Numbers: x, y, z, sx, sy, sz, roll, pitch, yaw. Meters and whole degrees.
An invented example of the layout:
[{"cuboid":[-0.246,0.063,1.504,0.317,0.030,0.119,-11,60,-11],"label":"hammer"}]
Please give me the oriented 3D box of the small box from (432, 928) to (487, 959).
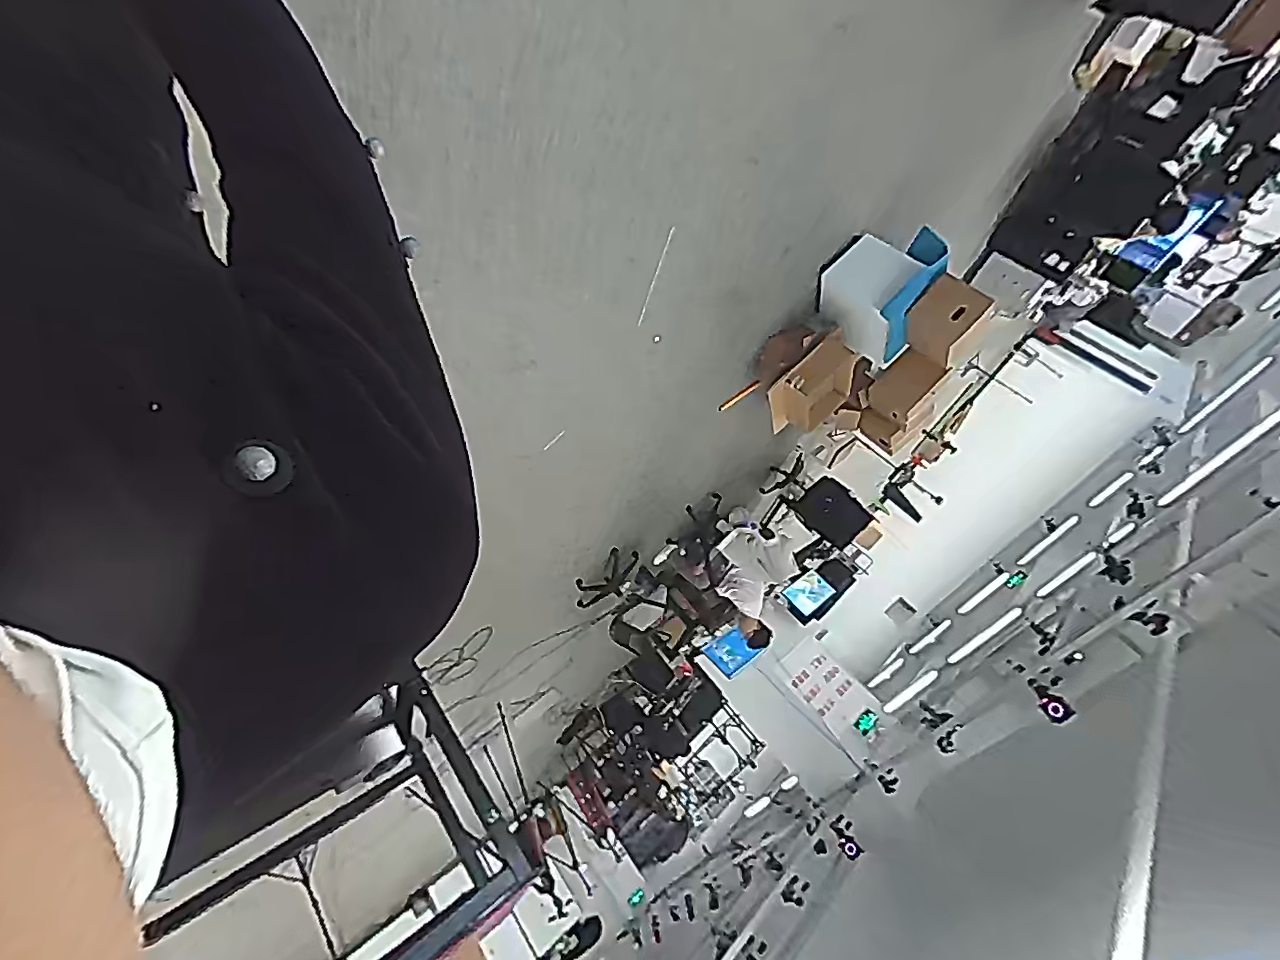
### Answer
[{"cuboid":[-0.509,1.386,1.485,0.179,0.176,0.168,-21,146,-39],"label":"small box"}]
